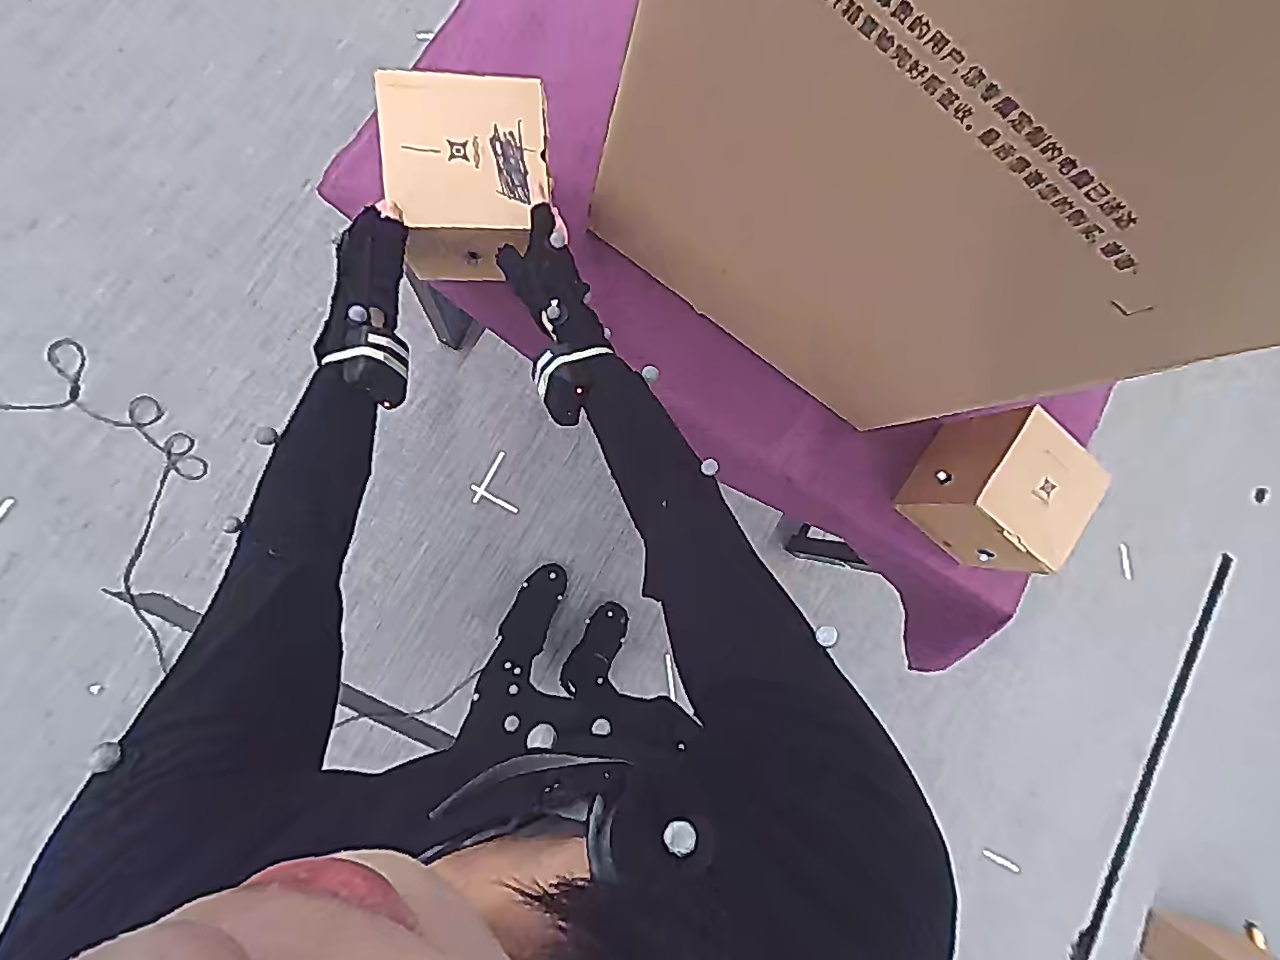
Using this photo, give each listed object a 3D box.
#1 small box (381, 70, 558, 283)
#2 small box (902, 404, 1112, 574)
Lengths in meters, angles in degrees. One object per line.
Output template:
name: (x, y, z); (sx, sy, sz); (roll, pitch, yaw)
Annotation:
small box: (-0.196, -0.351, 0.658); (0.179, 0.176, 0.168); (-4, 91, -10)
small box: (0.532, 0.017, 0.809); (0.168, 0.176, 0.179); (38, 79, -9)
